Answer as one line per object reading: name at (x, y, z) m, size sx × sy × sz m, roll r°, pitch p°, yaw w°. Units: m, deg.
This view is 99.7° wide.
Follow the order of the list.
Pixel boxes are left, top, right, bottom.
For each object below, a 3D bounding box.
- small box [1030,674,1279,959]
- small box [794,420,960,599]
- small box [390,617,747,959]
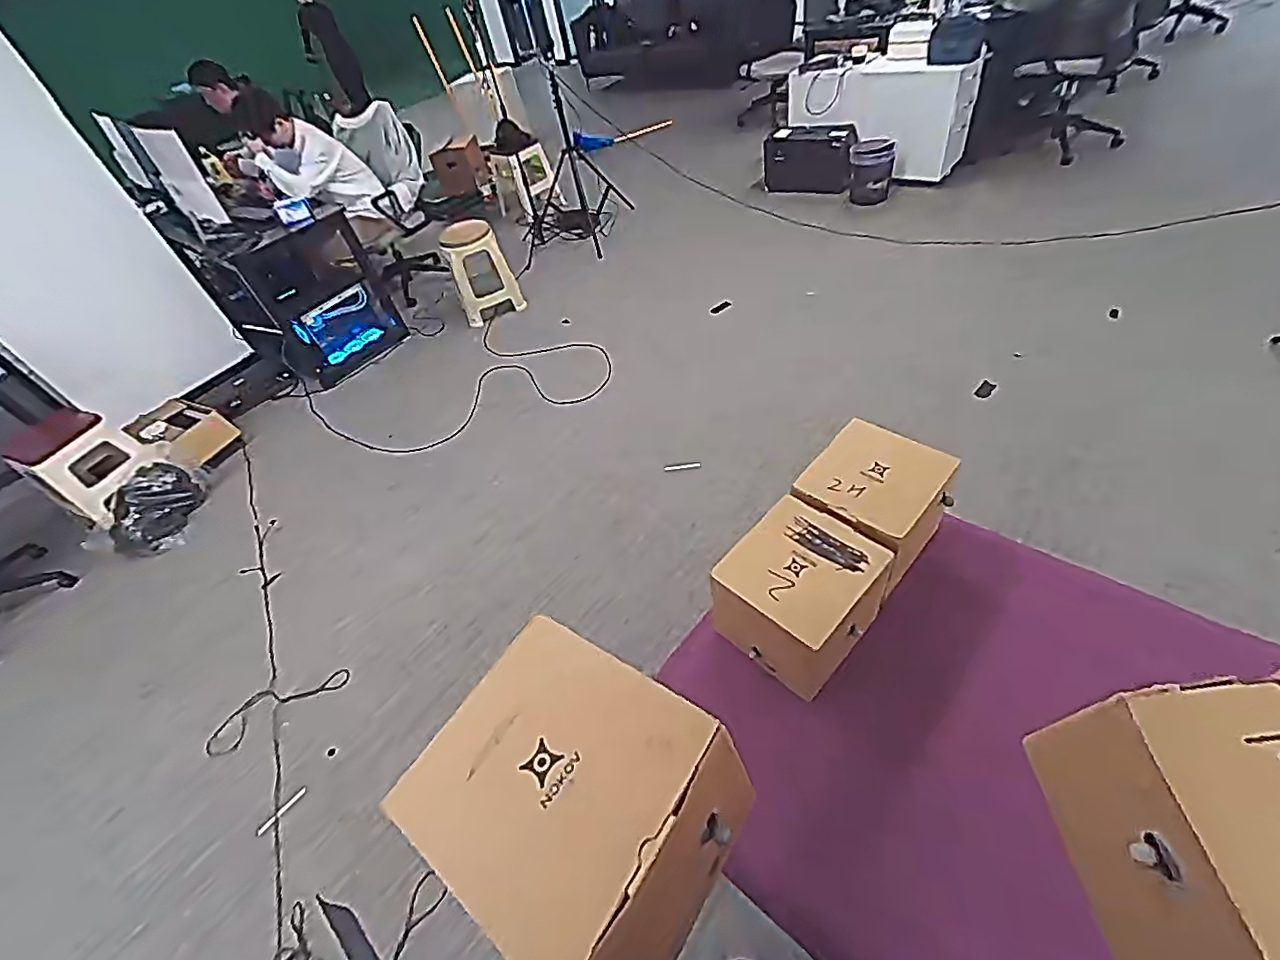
small box at (0.371, 0.220, 0.311) m, size 0.168 × 0.176 × 0.179 m, roll -11°, pitch 56°, yaw 9°
small box at (0.350, 0.045, 0.830) m, size 0.168 × 0.176 × 0.179 m, roll 31°, pitch 61°, yaw 35°
small box at (-0.037, 0.242, 0.408) m, size 0.179 × 0.176 × 0.168 m, roll 18°, pitch 55°, yaw 35°
